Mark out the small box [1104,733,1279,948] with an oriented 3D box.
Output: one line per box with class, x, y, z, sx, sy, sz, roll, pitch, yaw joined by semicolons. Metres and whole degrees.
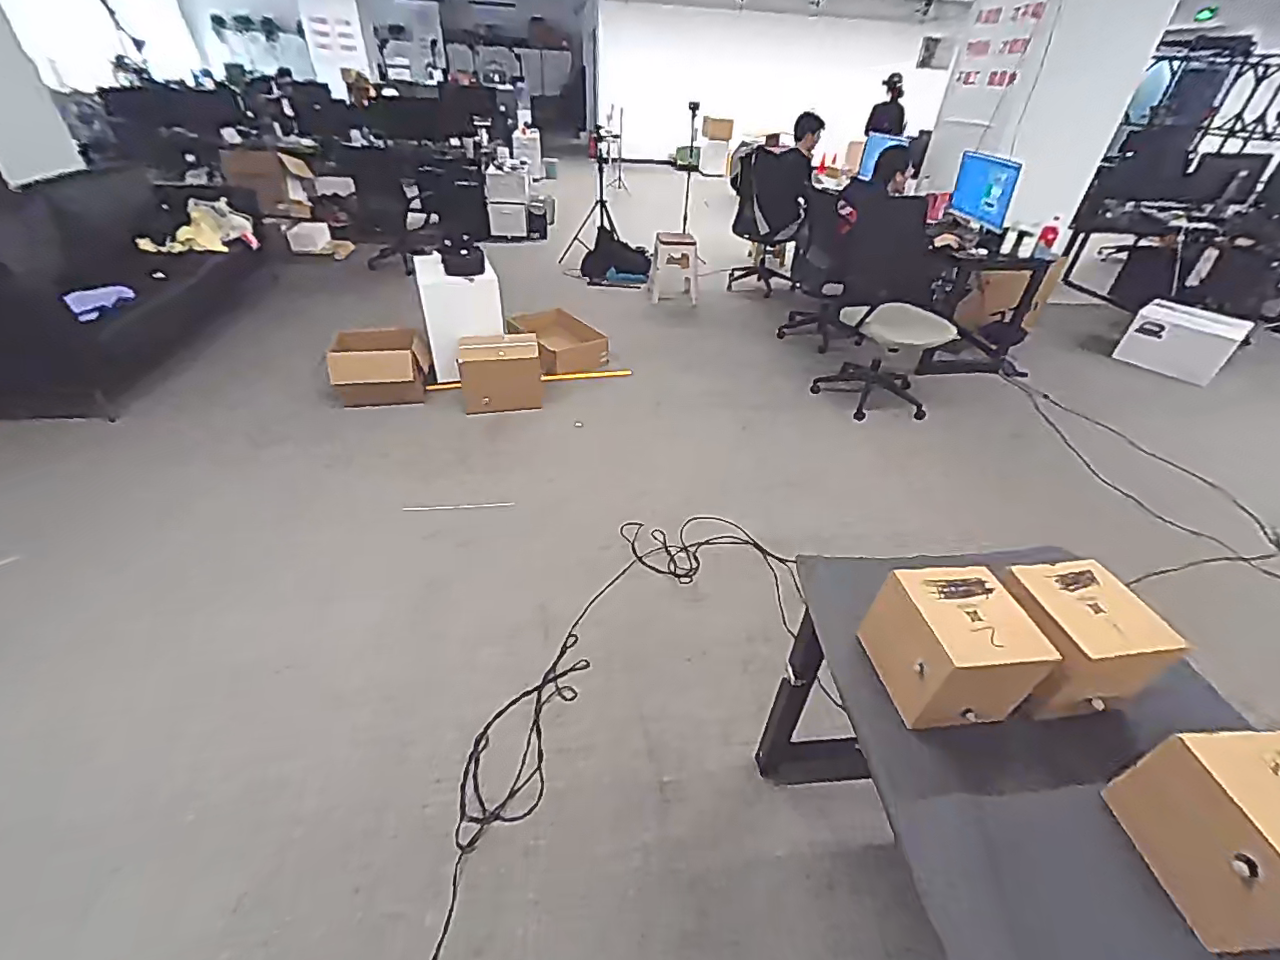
small box;0.724;0.425;0.639;0.168;0.176;0.179;1;37;-4
